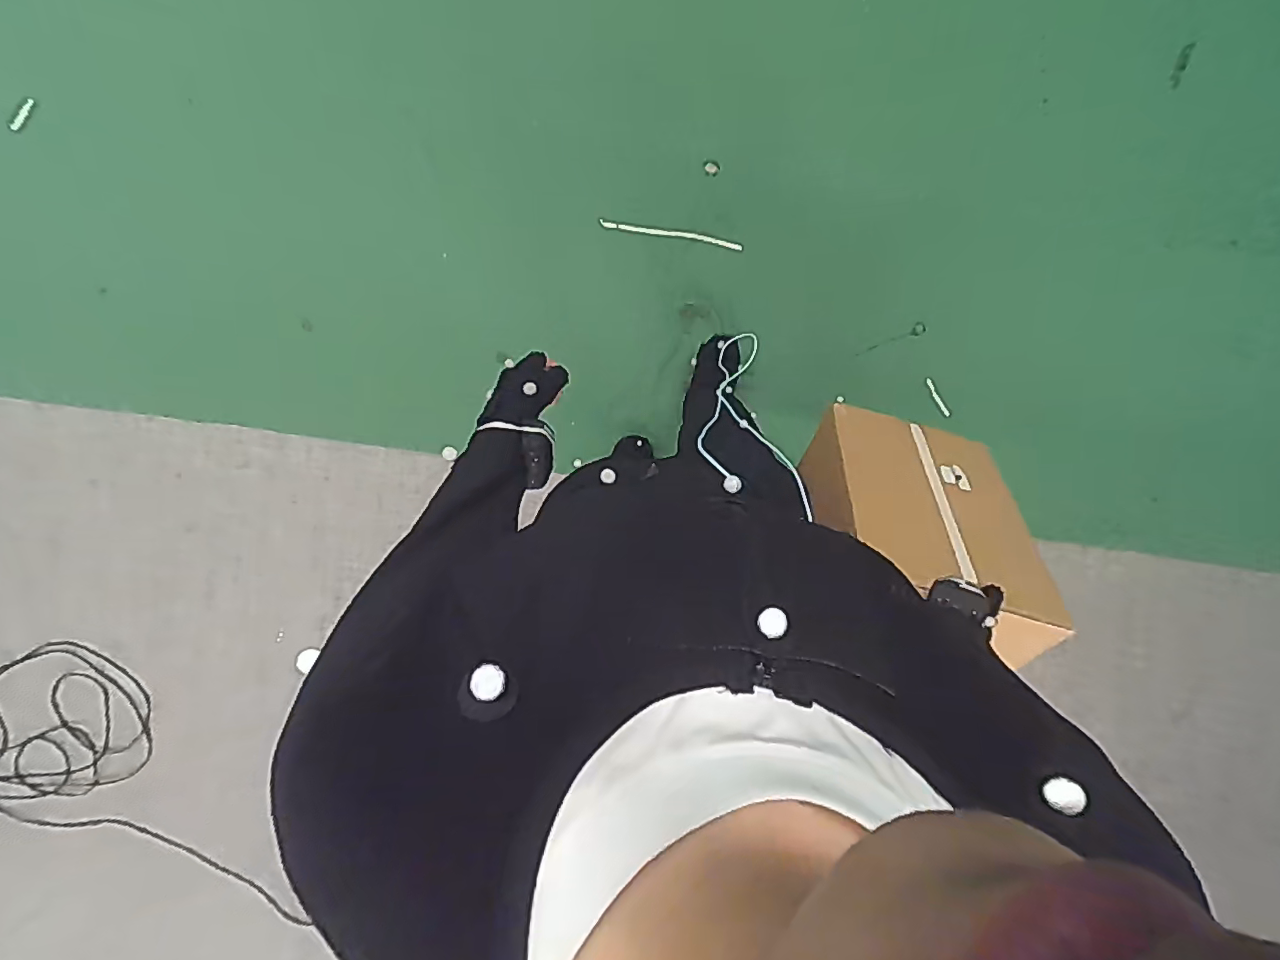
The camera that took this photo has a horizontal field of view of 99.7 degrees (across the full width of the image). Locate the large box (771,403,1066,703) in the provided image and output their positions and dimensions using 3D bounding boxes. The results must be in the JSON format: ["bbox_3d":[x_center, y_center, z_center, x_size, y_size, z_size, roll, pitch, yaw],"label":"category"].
[{"bbox_3d":[0.445,0.129,0.989,0.320,0.408,0.320,16,134,-3],"label":"large box"}]
